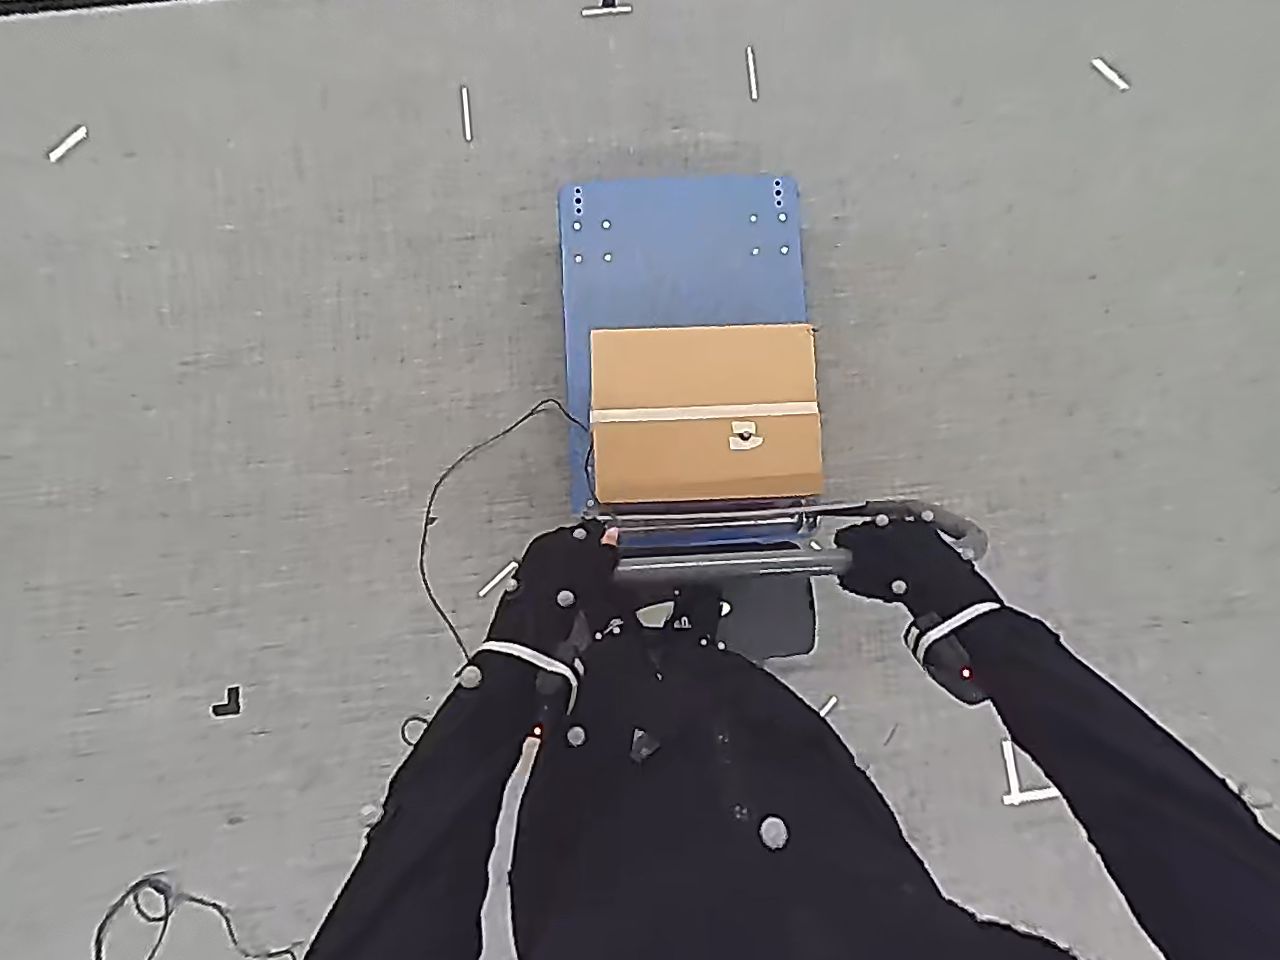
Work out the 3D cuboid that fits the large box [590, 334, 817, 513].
[{"bbox_3d":[0.110,-0.097,1.132,0.408,0.320,0.320,-2,86,-2],"label":"large box"}]
